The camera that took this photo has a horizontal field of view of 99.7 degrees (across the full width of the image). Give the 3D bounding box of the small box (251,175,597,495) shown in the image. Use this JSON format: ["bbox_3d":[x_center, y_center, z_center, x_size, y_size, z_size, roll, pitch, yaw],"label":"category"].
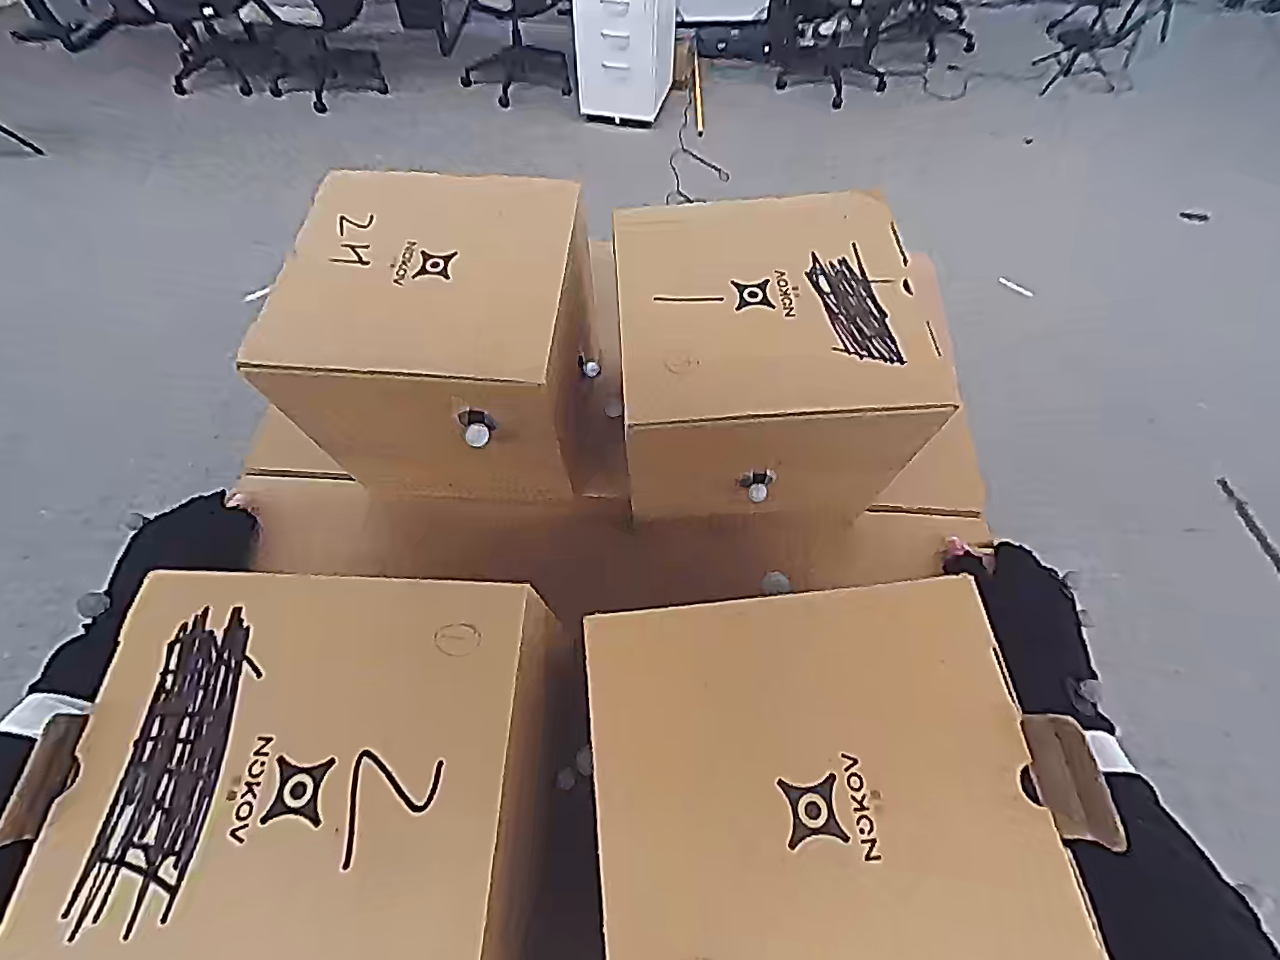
[{"bbox_3d":[-0.131,-0.098,0.414,0.179,0.176,0.168,4,63,3],"label":"small box"}]
